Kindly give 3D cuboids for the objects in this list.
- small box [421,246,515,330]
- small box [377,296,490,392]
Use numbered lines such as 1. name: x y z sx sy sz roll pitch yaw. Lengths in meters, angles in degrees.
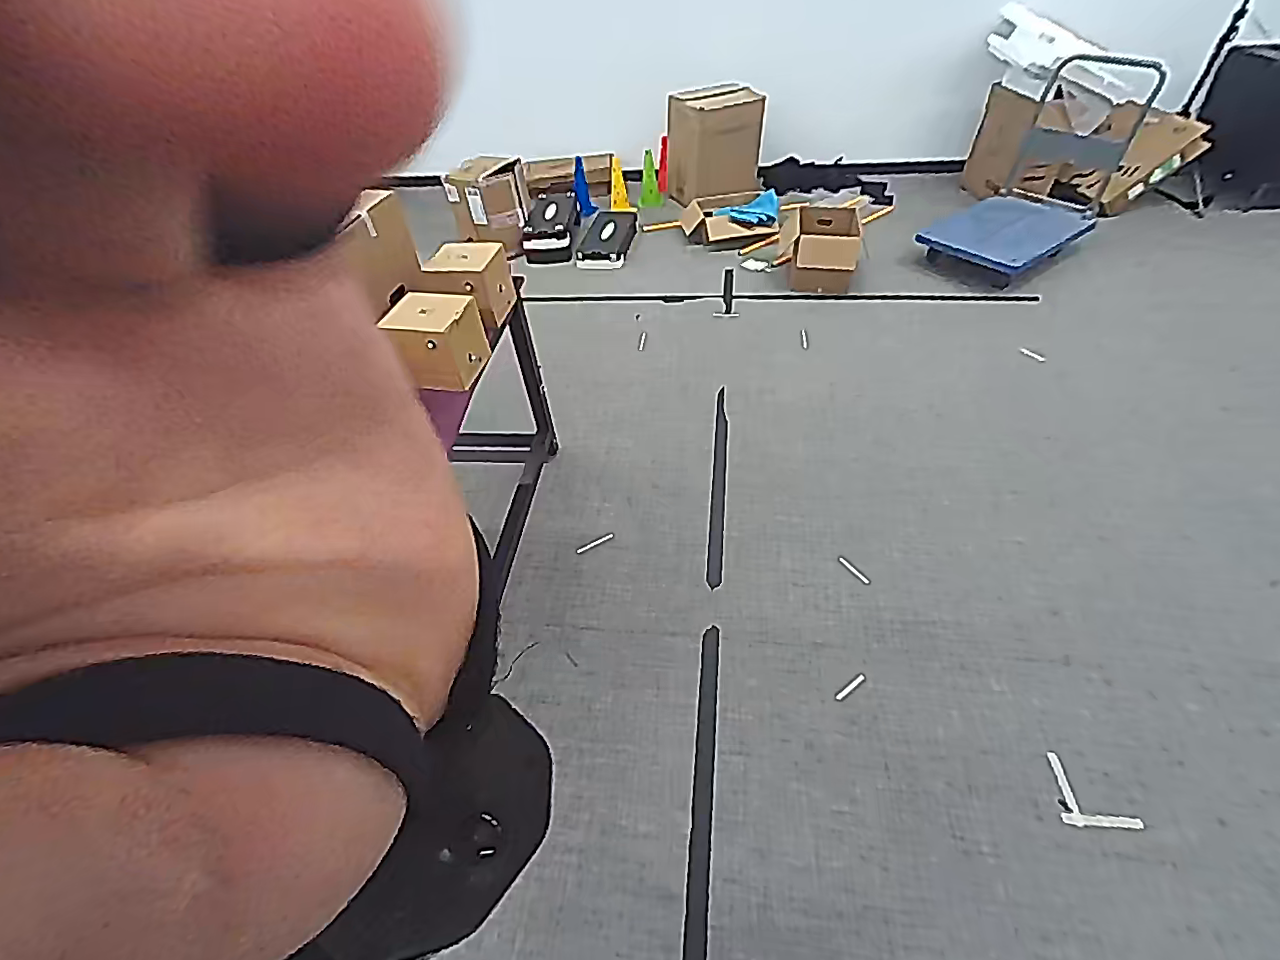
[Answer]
1. small box: -0.466 -0.531 1.502 0.179 0.176 0.168 3 47 10
2. small box: -0.492 -0.330 1.315 0.179 0.176 0.168 6 47 10
